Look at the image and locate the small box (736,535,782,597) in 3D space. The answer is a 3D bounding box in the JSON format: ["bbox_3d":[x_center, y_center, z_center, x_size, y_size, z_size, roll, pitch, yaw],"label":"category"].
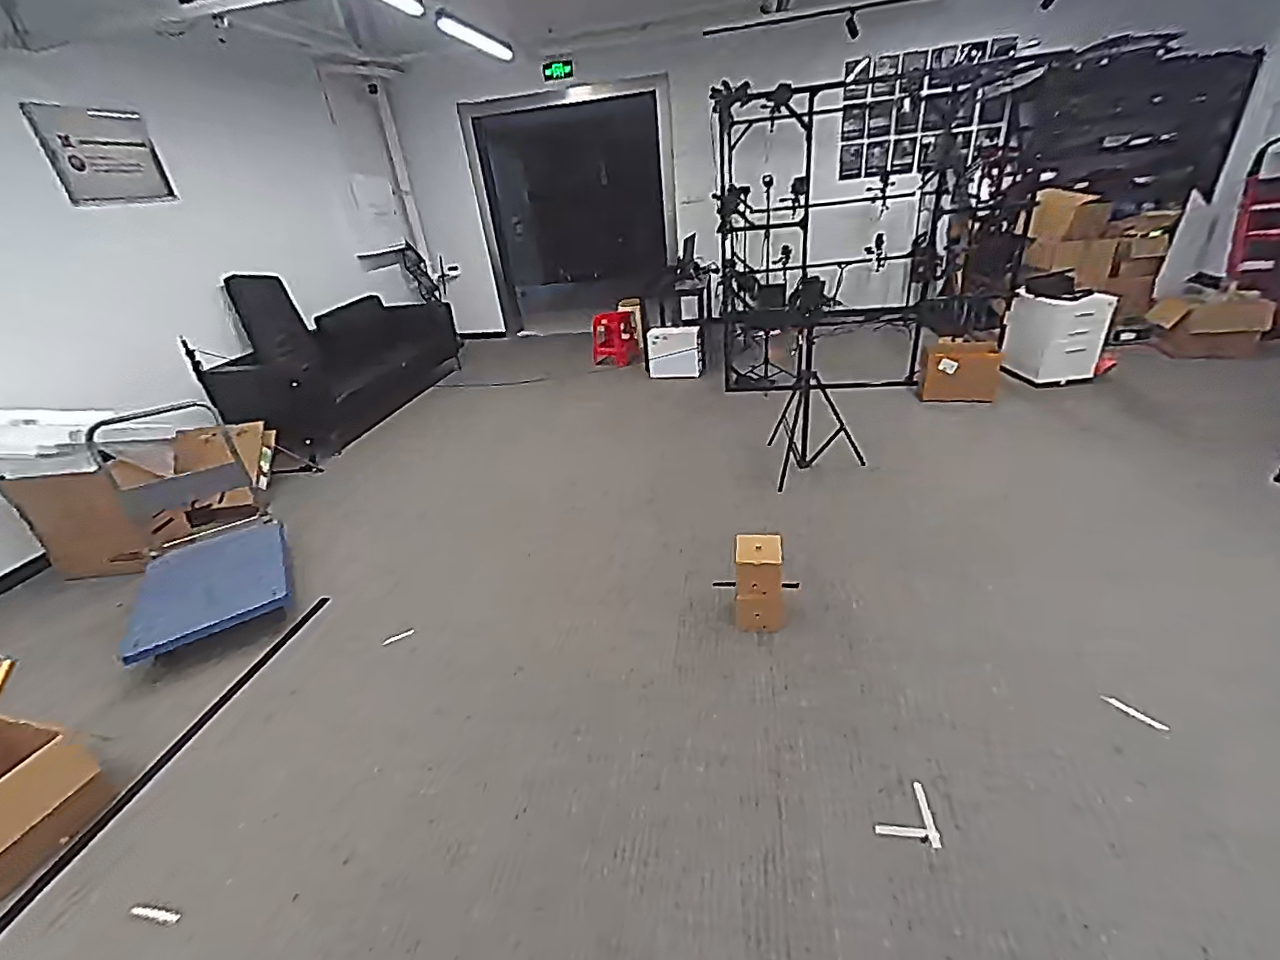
[{"bbox_3d":[0.452,0.328,2.068,0.168,0.176,0.179,-1,29,11],"label":"small box"}]

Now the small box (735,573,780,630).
[{"bbox_3d":[0.464,0.475,2.137,0.168,0.176,0.179,-1,28,9],"label":"small box"}]
